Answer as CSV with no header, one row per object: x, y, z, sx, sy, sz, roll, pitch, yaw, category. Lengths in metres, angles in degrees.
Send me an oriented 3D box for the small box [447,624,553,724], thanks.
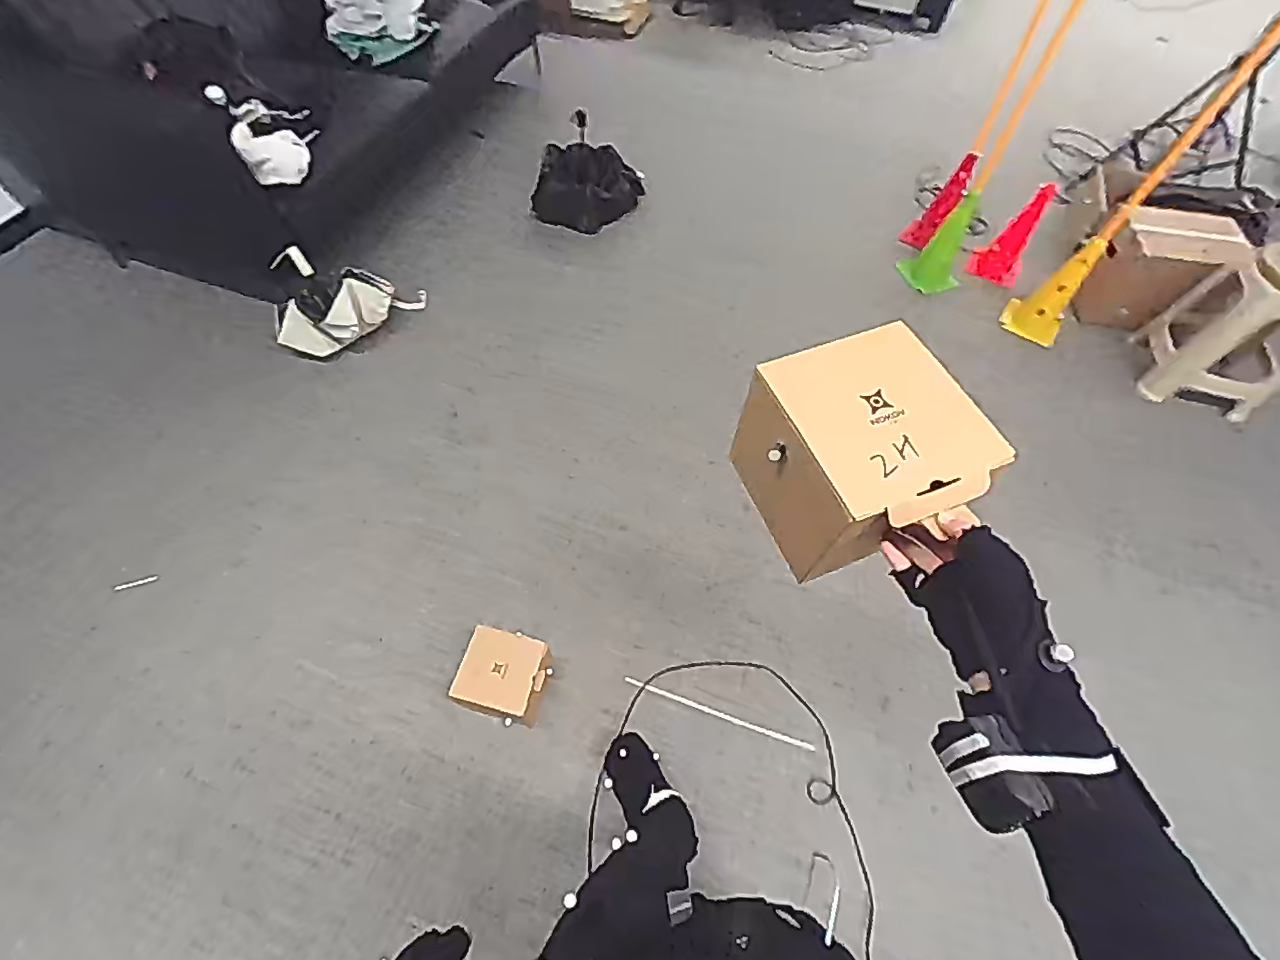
-0.314,0.459,1.262,0.179,0.176,0.168,13,59,6,small box

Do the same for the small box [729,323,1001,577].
0.208,-0.025,0.562,0.168,0.176,0.179,-20,64,-11,small box
